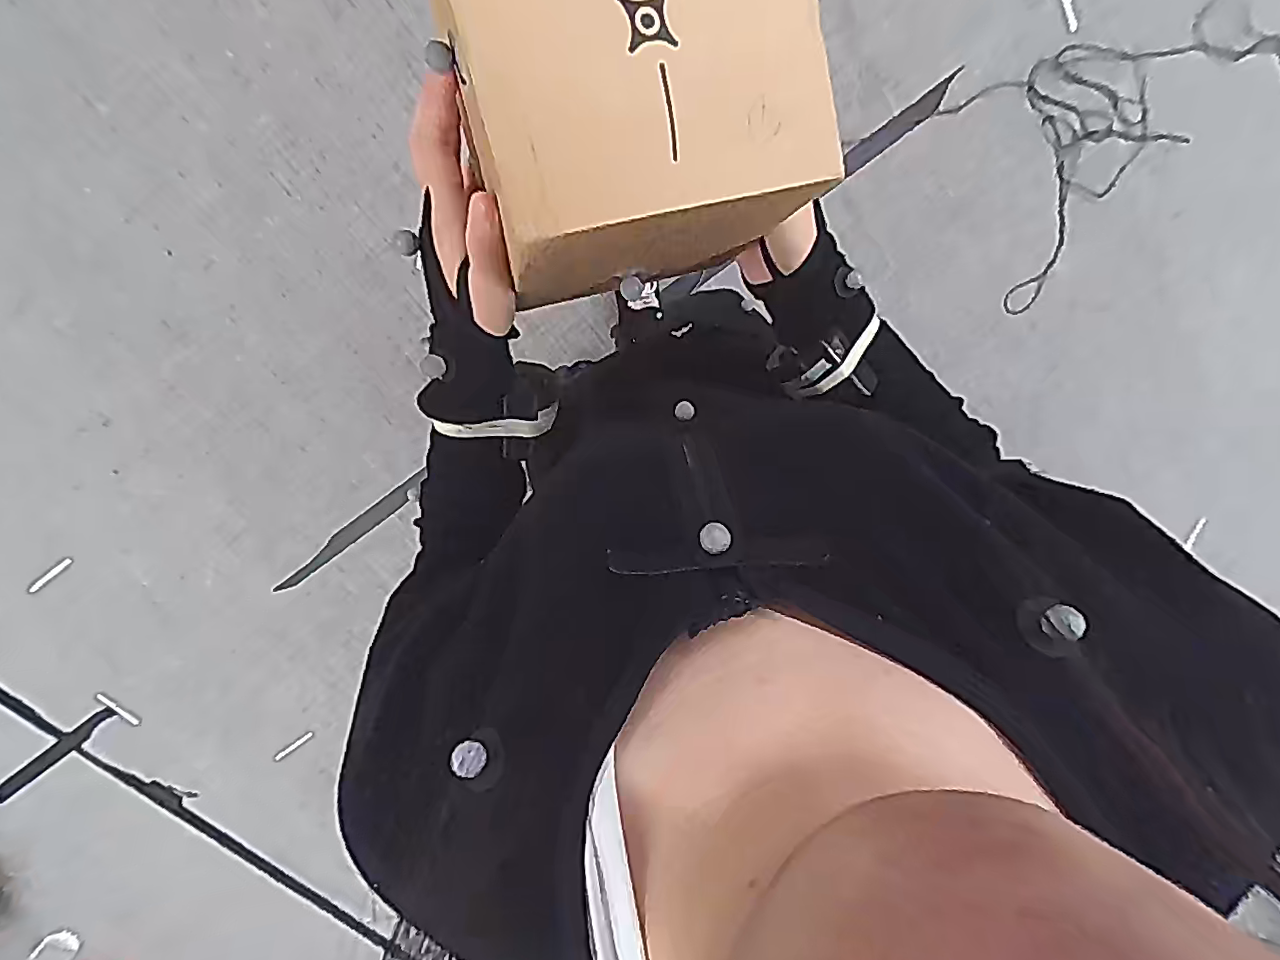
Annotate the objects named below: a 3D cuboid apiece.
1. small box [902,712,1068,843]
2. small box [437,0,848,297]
[{"bbox_3d":[0.574,0.517,0.892,0.168,0.176,0.179,-37,108,7],"label":"small box"},{"bbox_3d":[-0.015,-0.223,0.308,0.168,0.176,0.179,-16,101,-11],"label":"small box"}]
